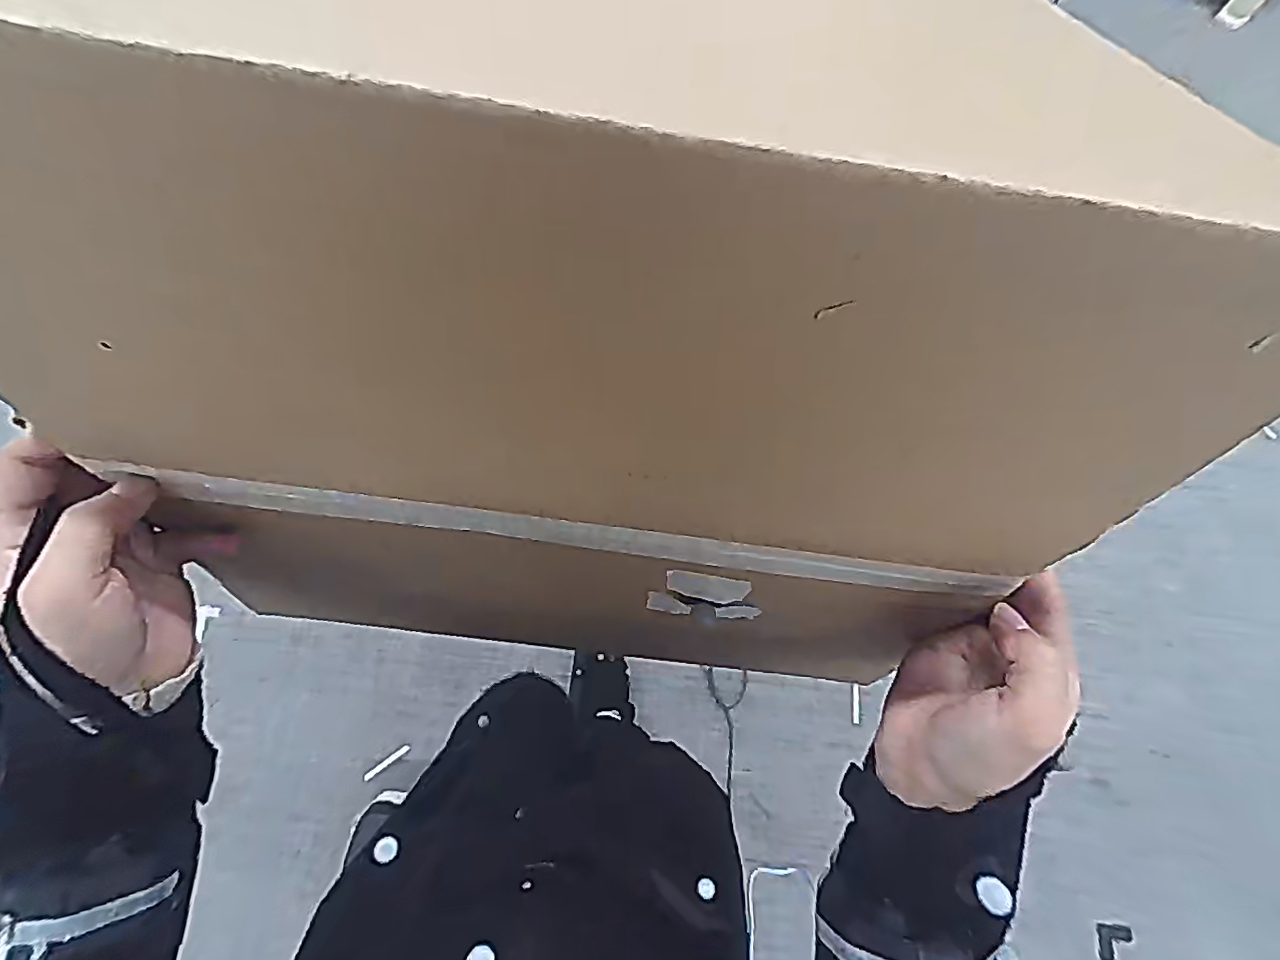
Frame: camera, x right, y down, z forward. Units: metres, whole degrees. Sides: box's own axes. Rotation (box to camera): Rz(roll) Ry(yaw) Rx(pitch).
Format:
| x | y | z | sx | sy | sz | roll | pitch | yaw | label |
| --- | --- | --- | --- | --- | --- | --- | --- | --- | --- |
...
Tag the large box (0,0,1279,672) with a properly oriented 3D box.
| x | y | z | sx | sy | sz | roll | pitch | yaw | label |
| --- | --- | --- | --- | --- | --- | --- | --- | --- | --- |
| -0.019 | -0.100 | 0.336 | 0.408 | 0.320 | 0.320 | 7 | 53 | -3 | large box |
